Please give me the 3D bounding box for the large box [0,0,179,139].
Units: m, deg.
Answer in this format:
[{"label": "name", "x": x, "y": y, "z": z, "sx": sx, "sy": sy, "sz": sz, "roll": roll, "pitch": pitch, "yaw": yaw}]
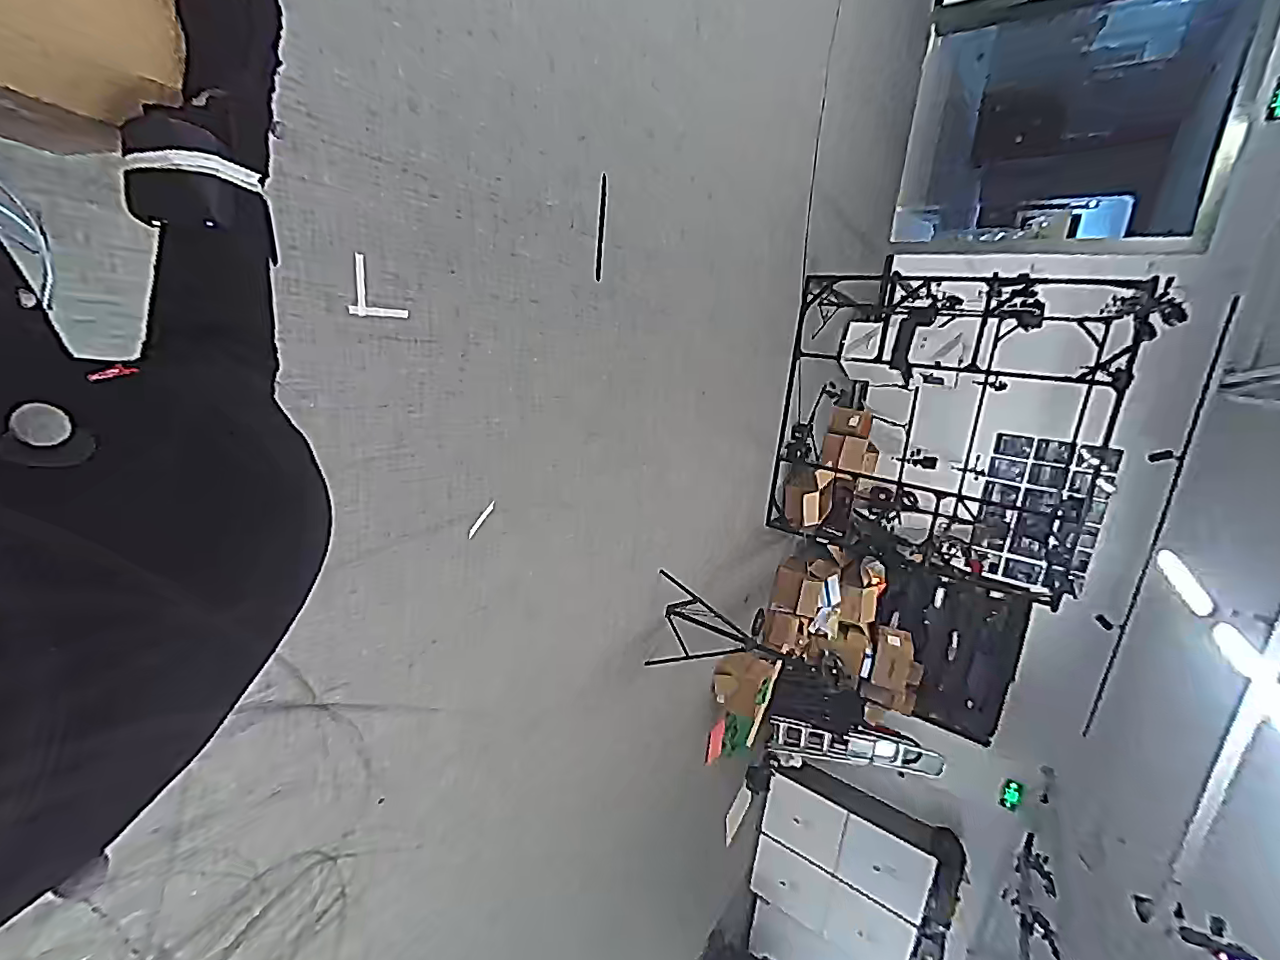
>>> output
[{"label": "large box", "x": -0.541, "y": -0.433, "z": 0.278, "sx": 0.408, "sy": 0.320, "sz": 0.320, "roll": -5, "pitch": 113, "yaw": -58}]
